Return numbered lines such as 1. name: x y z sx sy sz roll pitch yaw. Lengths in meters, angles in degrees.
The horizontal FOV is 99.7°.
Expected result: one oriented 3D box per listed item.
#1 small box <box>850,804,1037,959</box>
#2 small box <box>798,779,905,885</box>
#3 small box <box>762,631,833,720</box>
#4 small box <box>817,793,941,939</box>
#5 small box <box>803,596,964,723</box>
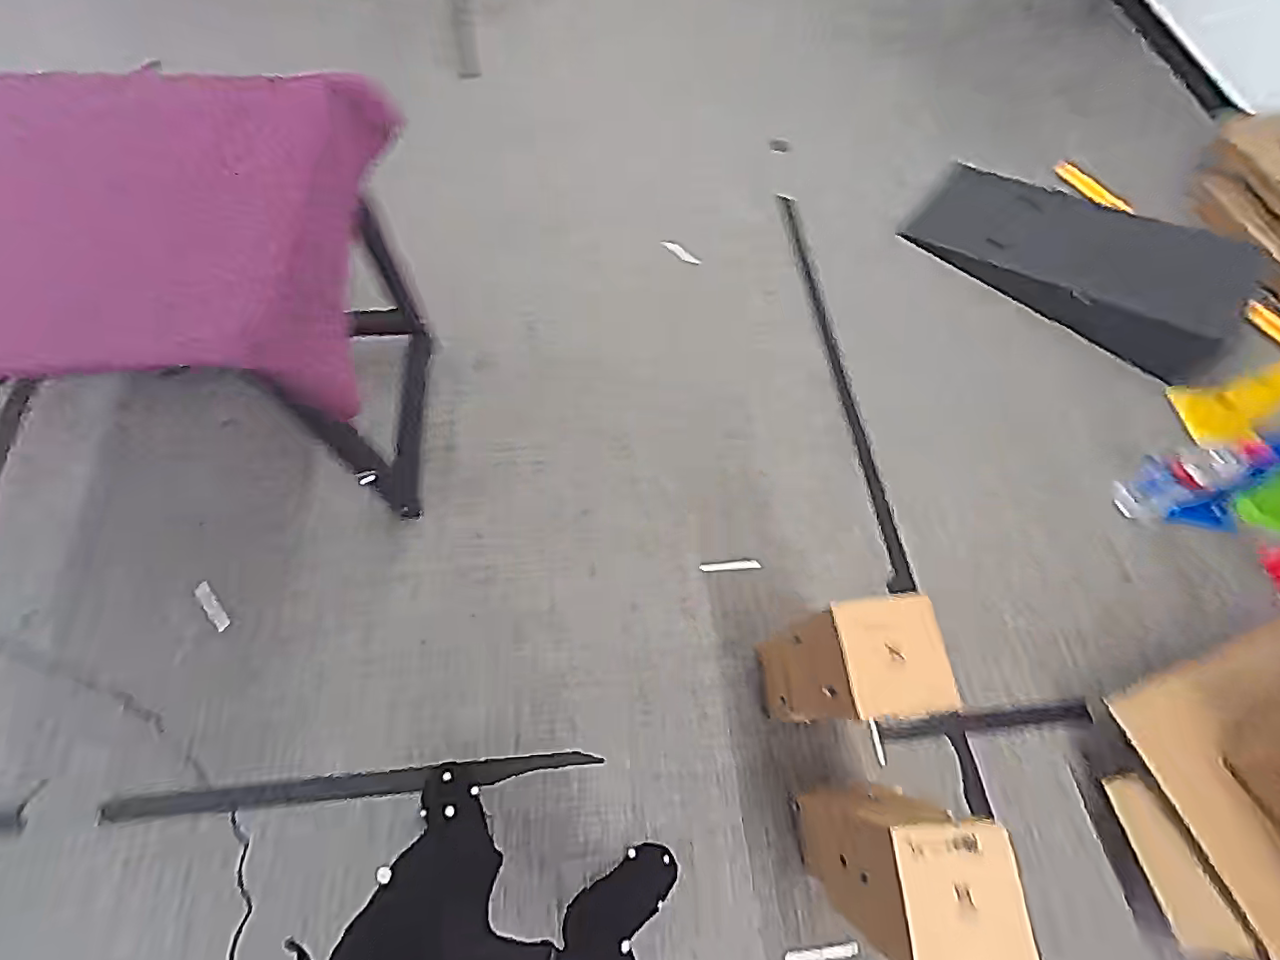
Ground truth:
1. small box: 0.427 0.591 0.790 0.168 0.176 0.179 1 68 -2
2. small box: 0.433 0.714 1.095 0.179 0.176 0.168 -4 68 -5
3. small box: 0.383 0.438 1.213 0.168 0.176 0.179 -3 67 -4
4. small box: 0.424 0.655 0.941 0.168 0.176 0.179 -3 68 -3
5. small box: 0.396 0.305 0.914 0.168 0.176 0.179 -4 66 -7
